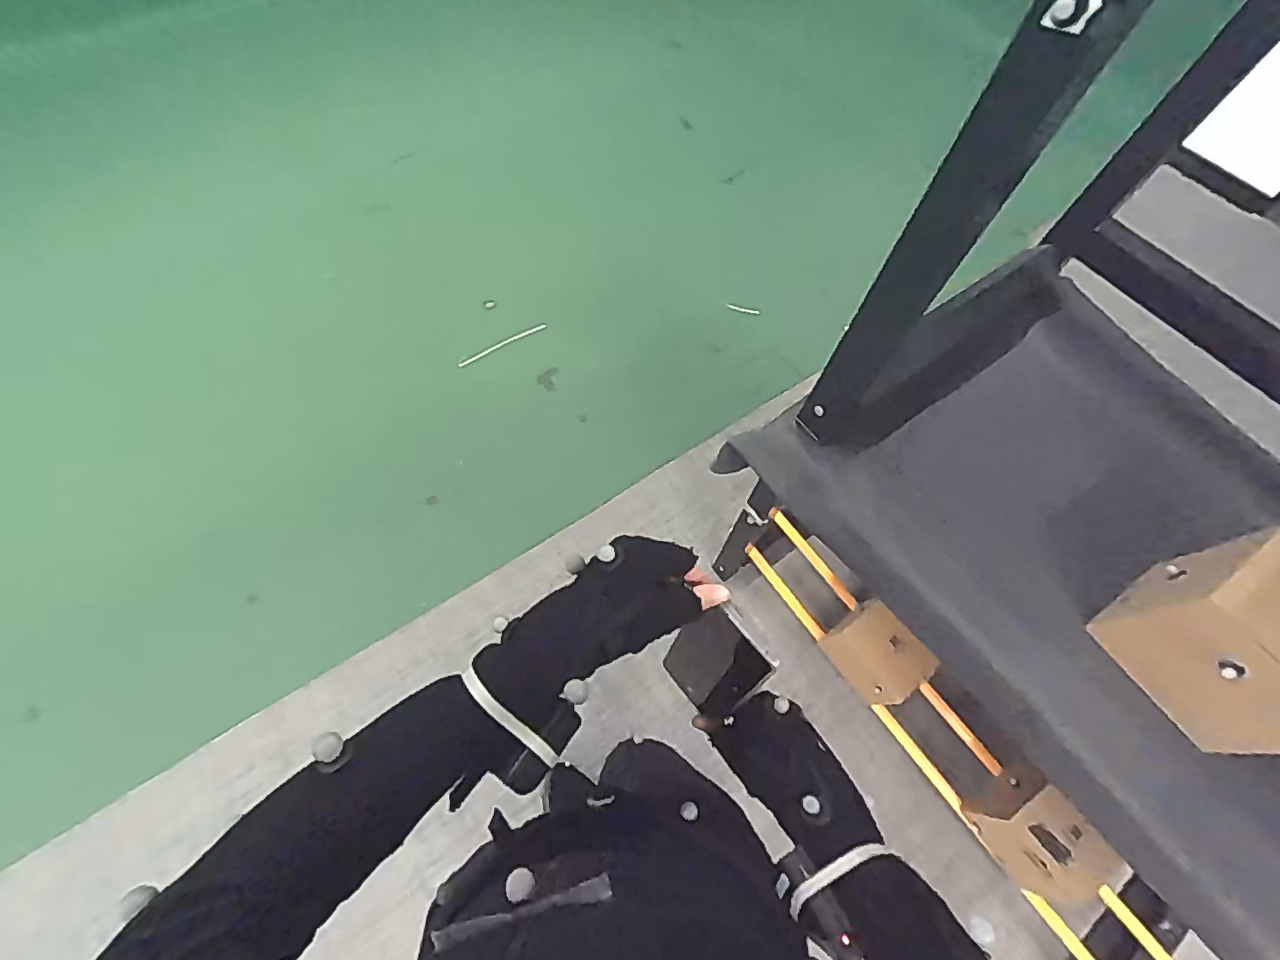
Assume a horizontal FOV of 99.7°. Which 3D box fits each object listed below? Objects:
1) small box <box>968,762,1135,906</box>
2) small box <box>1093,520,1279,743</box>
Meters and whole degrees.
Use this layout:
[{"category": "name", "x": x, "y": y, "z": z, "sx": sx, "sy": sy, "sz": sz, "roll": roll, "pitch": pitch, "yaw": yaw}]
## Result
[{"category": "small box", "x": 0.796, "y": 0.688, "z": 1.074, "sx": 0.179, "sy": 0.176, "sz": 0.168, "roll": -29, "pitch": 69, "yaw": -15}, {"category": "small box", "x": 0.693, "y": 0.181, "z": 0.622, "sx": 0.168, "sy": 0.176, "sz": 0.179, "roll": -29, "pitch": 69, "yaw": -15}]
